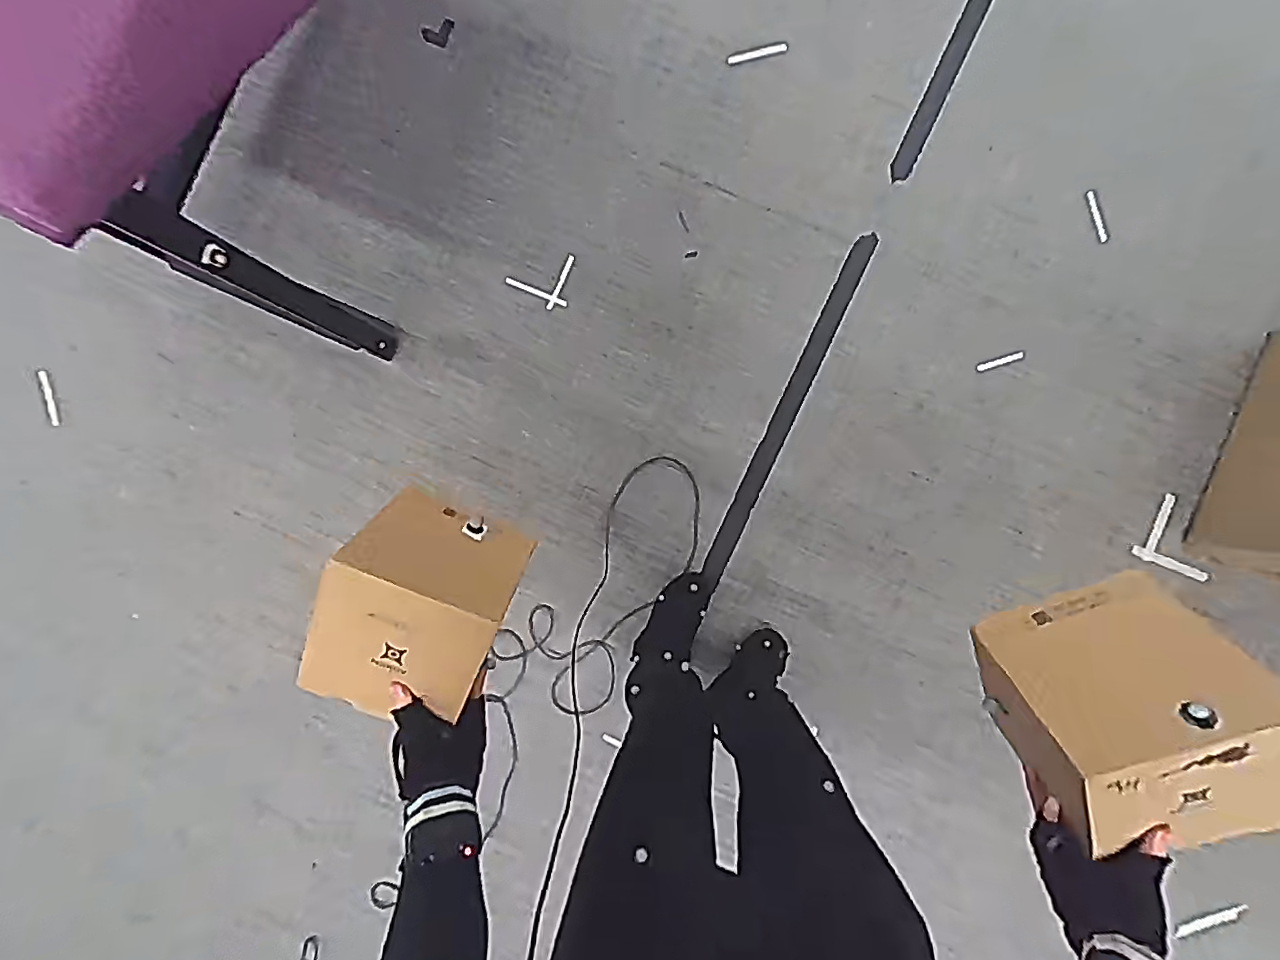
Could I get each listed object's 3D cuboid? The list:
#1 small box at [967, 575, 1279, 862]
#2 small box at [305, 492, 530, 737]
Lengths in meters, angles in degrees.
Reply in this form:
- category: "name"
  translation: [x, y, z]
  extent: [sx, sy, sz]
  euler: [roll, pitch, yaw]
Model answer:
- category: "small box"
  translation: [0.455, 0.226, 0.528]
  extent: [0.168, 0.176, 0.179]
  euler: [-24, 118, 11]
- category: "small box"
  translation: [-0.238, 0.143, 0.612]
  extent: [0.168, 0.176, 0.179]
  euler: [22, 112, -7]
